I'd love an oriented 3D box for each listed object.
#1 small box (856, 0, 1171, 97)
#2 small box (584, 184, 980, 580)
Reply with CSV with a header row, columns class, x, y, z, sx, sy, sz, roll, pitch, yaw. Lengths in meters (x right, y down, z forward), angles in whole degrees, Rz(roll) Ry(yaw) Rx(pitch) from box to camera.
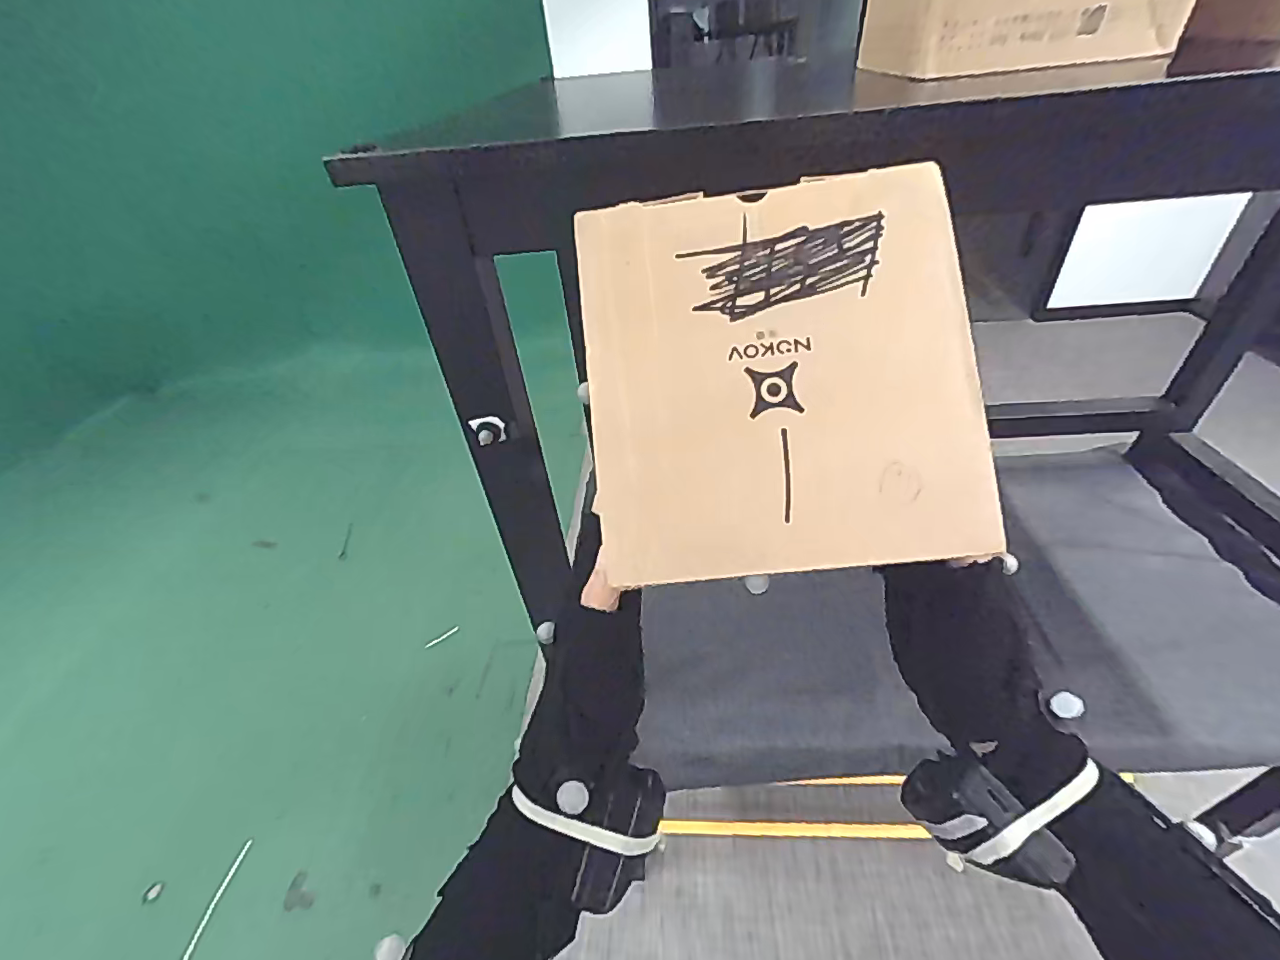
class,x,y,z,sx,sy,sz,roll,pitch,yaw
small box,0.275,-0.395,0.401,0.168,0.176,0.179,-2,39,5
small box,0.065,-0.037,0.326,0.168,0.176,0.179,-6,83,5
